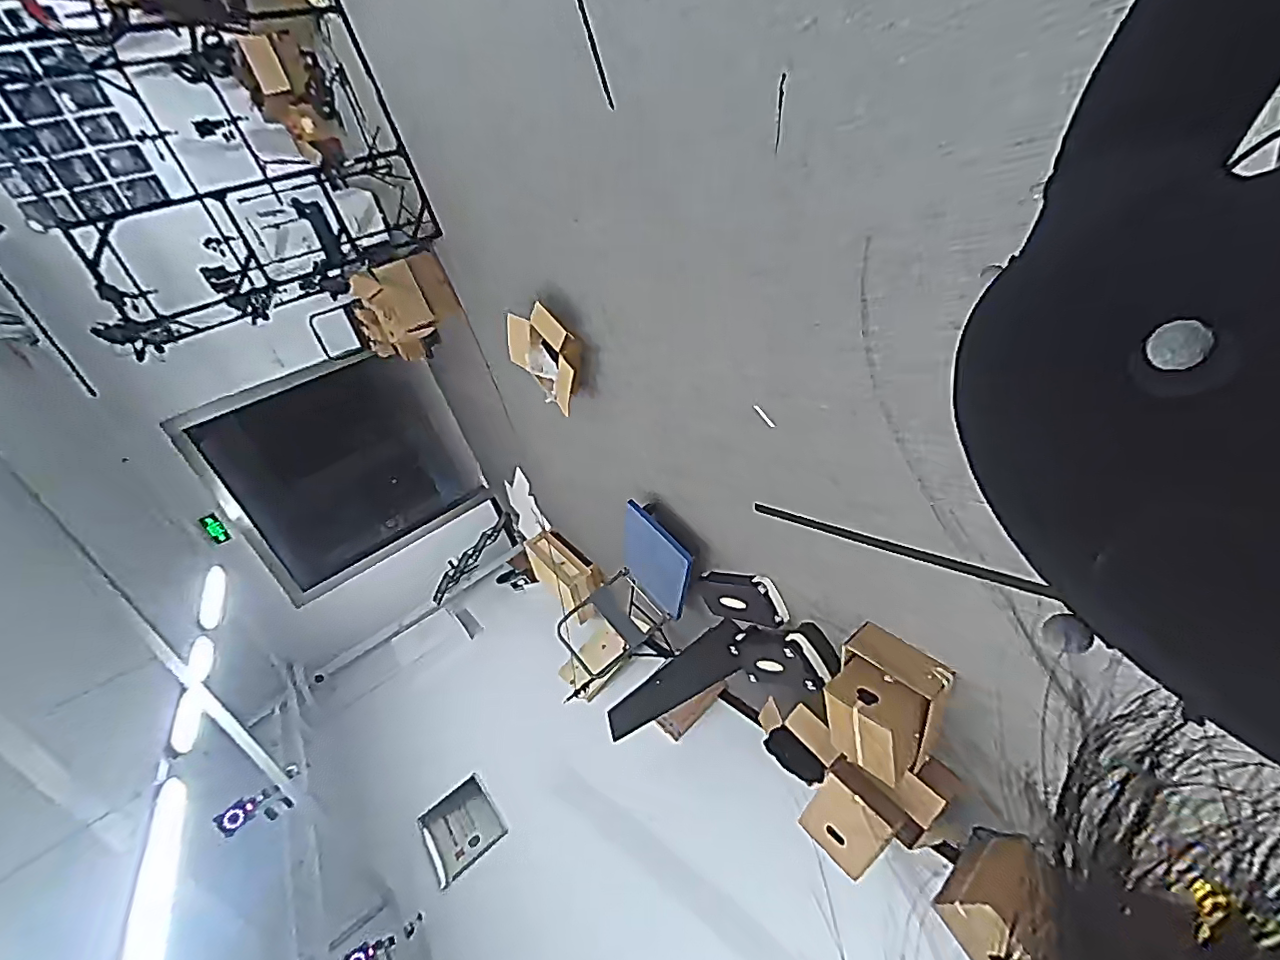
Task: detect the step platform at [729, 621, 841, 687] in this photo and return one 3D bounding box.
[{"bbox_3d":[0.777,0.968,3.017,0.286,0.204,0.684,56,153,2],"label":"step platform"}]
